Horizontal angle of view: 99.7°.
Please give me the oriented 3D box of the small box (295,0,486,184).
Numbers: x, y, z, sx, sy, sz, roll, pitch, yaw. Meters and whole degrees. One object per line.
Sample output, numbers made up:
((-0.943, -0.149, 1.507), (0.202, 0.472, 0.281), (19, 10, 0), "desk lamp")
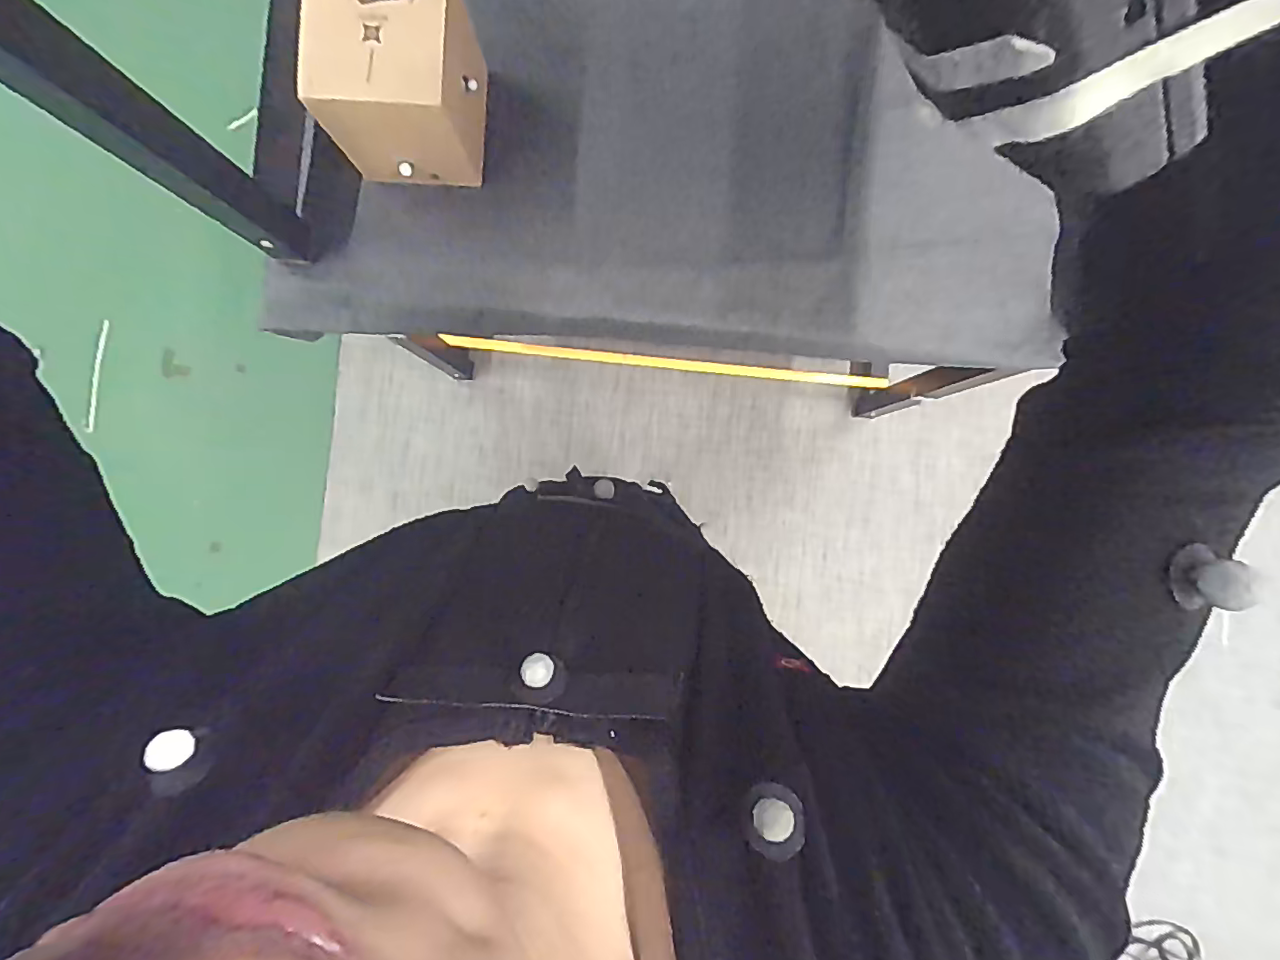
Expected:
((-0.302, -0.514, 0.690), (0.168, 0.176, 0.179), (3, 89, 0), "small box")
